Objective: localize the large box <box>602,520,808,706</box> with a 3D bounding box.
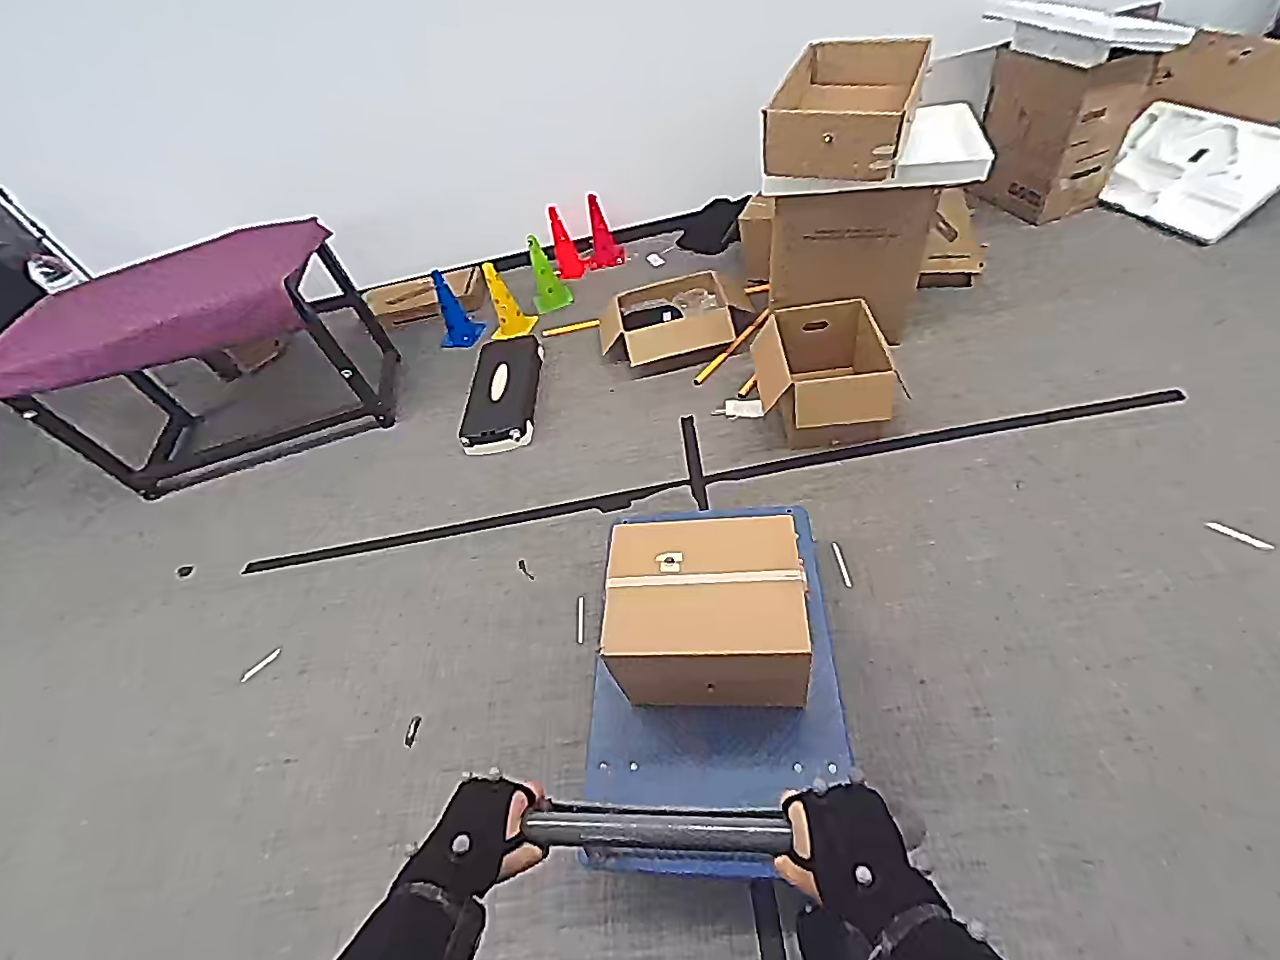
[{"bbox_3d":[0.157,0.318,1.249,0.408,0.320,0.320,-5,49,11],"label":"large box"}]
